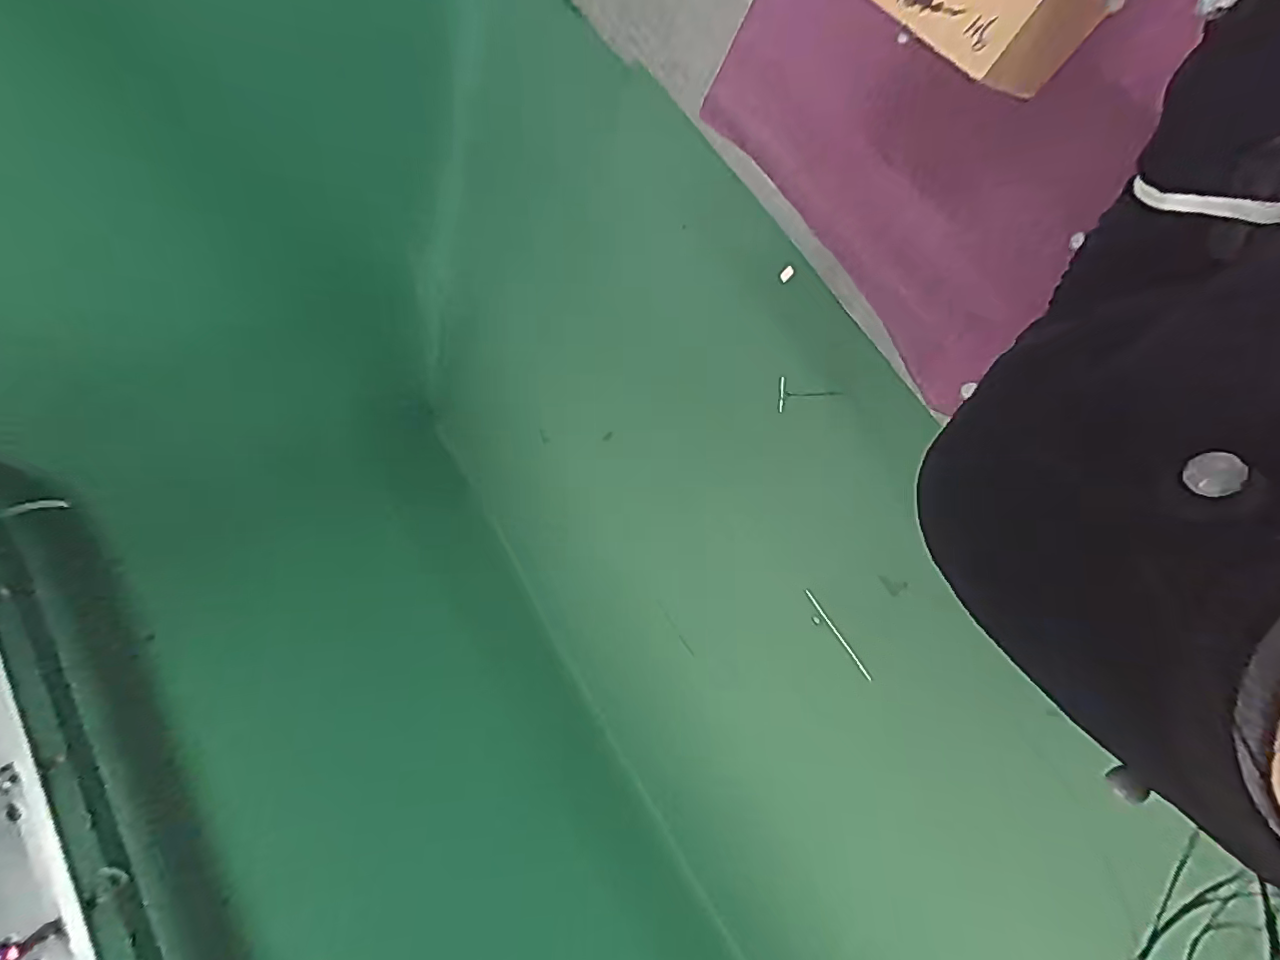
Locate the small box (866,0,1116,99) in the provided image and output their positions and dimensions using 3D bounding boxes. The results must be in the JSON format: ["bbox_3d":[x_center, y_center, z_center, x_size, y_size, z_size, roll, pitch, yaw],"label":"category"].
[{"bbox_3d":[0.353,-0.497,0.504,0.168,0.176,0.179,54,142,15],"label":"small box"}]
